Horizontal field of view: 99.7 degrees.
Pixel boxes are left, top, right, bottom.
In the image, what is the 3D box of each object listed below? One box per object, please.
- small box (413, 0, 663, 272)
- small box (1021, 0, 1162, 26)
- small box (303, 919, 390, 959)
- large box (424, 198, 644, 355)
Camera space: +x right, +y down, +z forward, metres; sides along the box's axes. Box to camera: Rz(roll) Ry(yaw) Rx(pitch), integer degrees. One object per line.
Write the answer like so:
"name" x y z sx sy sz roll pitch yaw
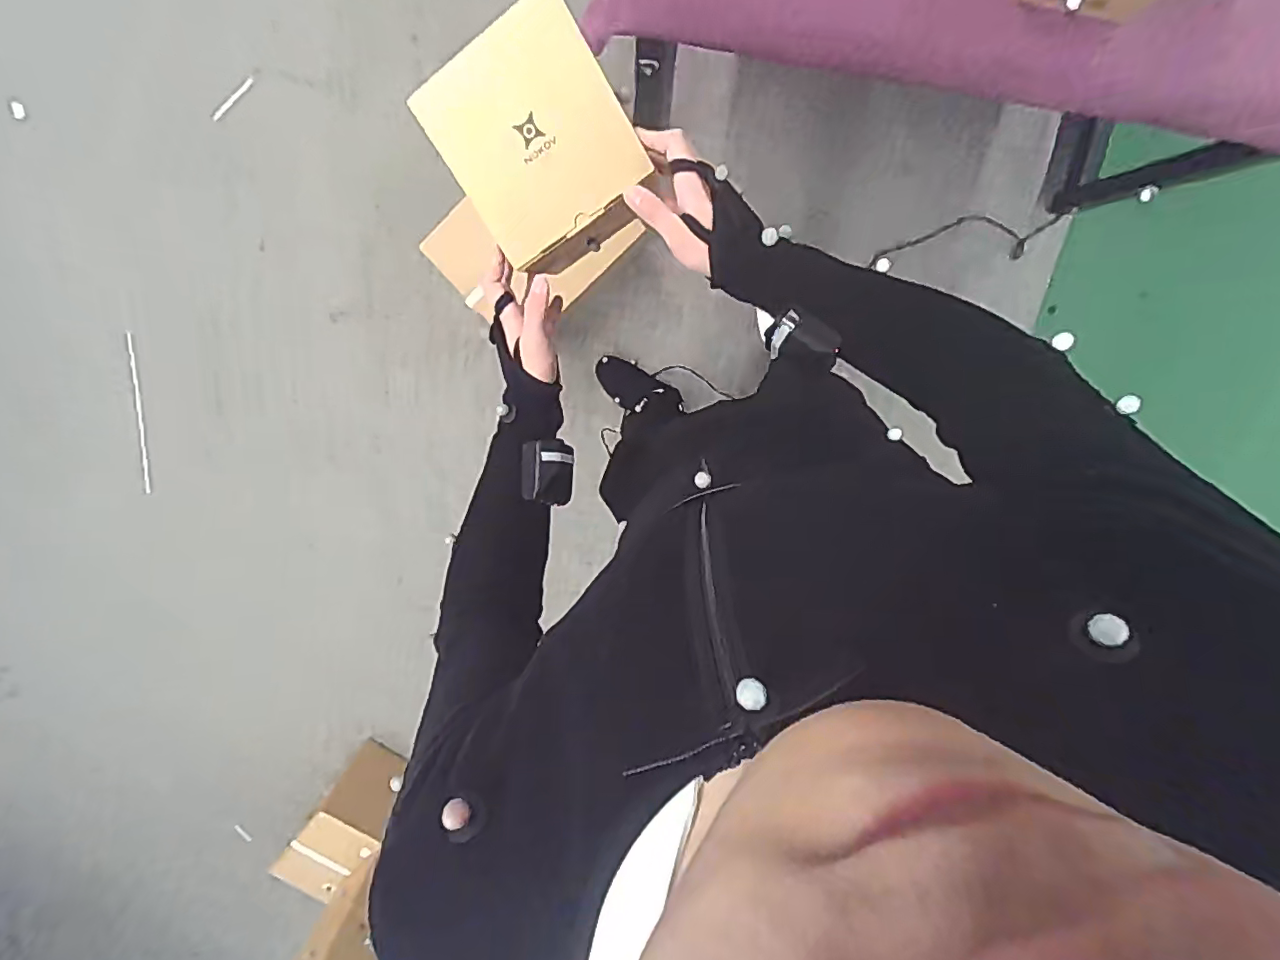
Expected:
"small box" -0.089 -0.335 0.562 0.168 0.176 0.179 -29 106 14
"small box" 0.577 -0.675 0.612 0.168 0.176 0.179 9 104 -2
"small box" -0.798 1.315 1.415 0.179 0.176 0.168 -40 102 8
"large box" -0.237 -0.558 1.327 0.408 0.320 0.320 -42 103 9
